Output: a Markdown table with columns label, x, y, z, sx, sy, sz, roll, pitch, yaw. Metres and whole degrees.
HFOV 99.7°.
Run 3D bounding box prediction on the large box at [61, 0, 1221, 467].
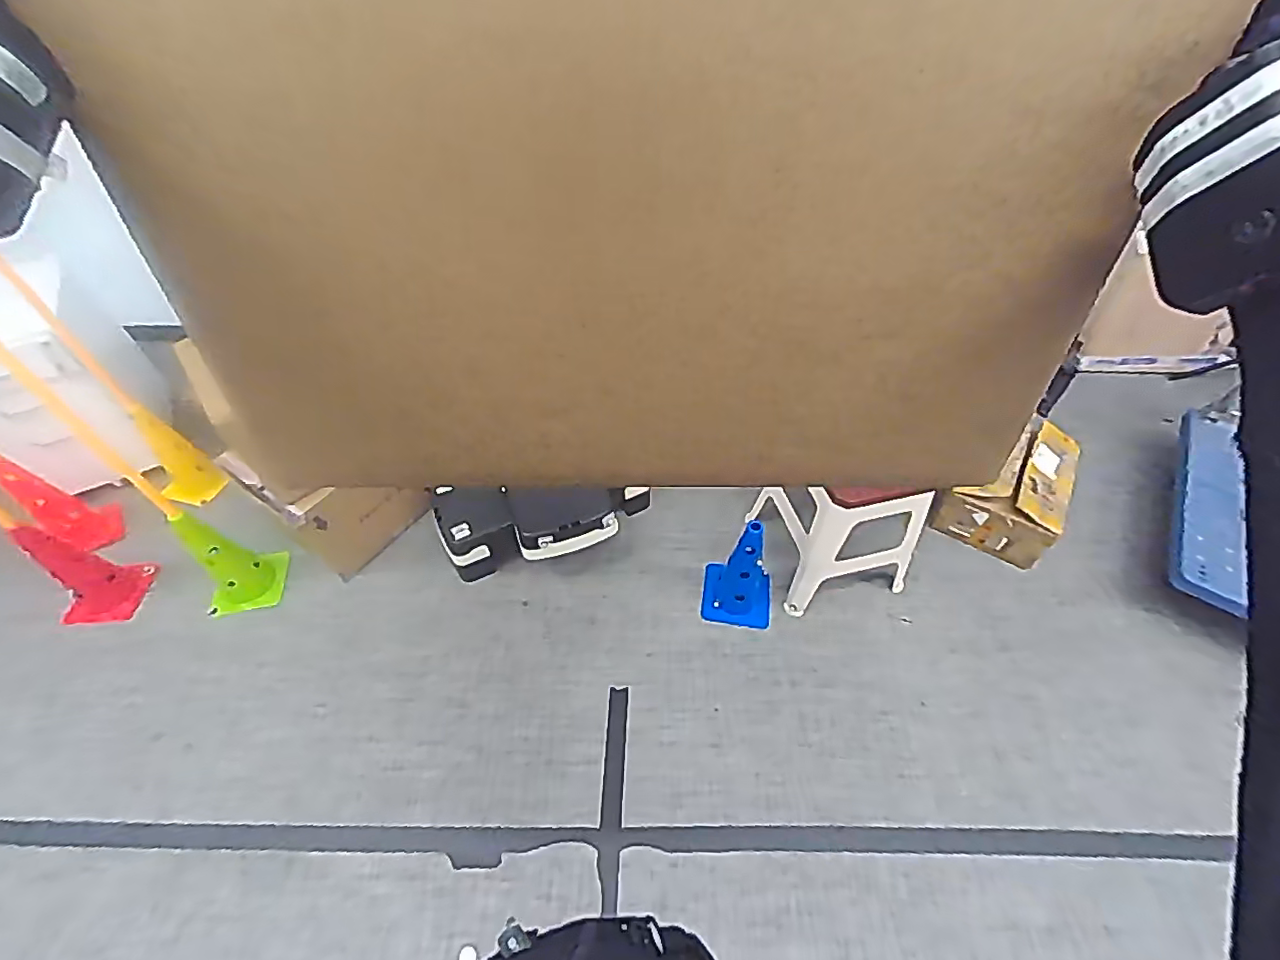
| label | x | y | z | sx | sy | sz | roll | pitch | yaw |
| --- | --- | --- | --- | --- | --- | --- | --- | --- | --- |
| large box | -0.001 | -0.216 | 0.327 | 0.408 | 0.320 | 0.320 | 1 | 40 | -1 |
